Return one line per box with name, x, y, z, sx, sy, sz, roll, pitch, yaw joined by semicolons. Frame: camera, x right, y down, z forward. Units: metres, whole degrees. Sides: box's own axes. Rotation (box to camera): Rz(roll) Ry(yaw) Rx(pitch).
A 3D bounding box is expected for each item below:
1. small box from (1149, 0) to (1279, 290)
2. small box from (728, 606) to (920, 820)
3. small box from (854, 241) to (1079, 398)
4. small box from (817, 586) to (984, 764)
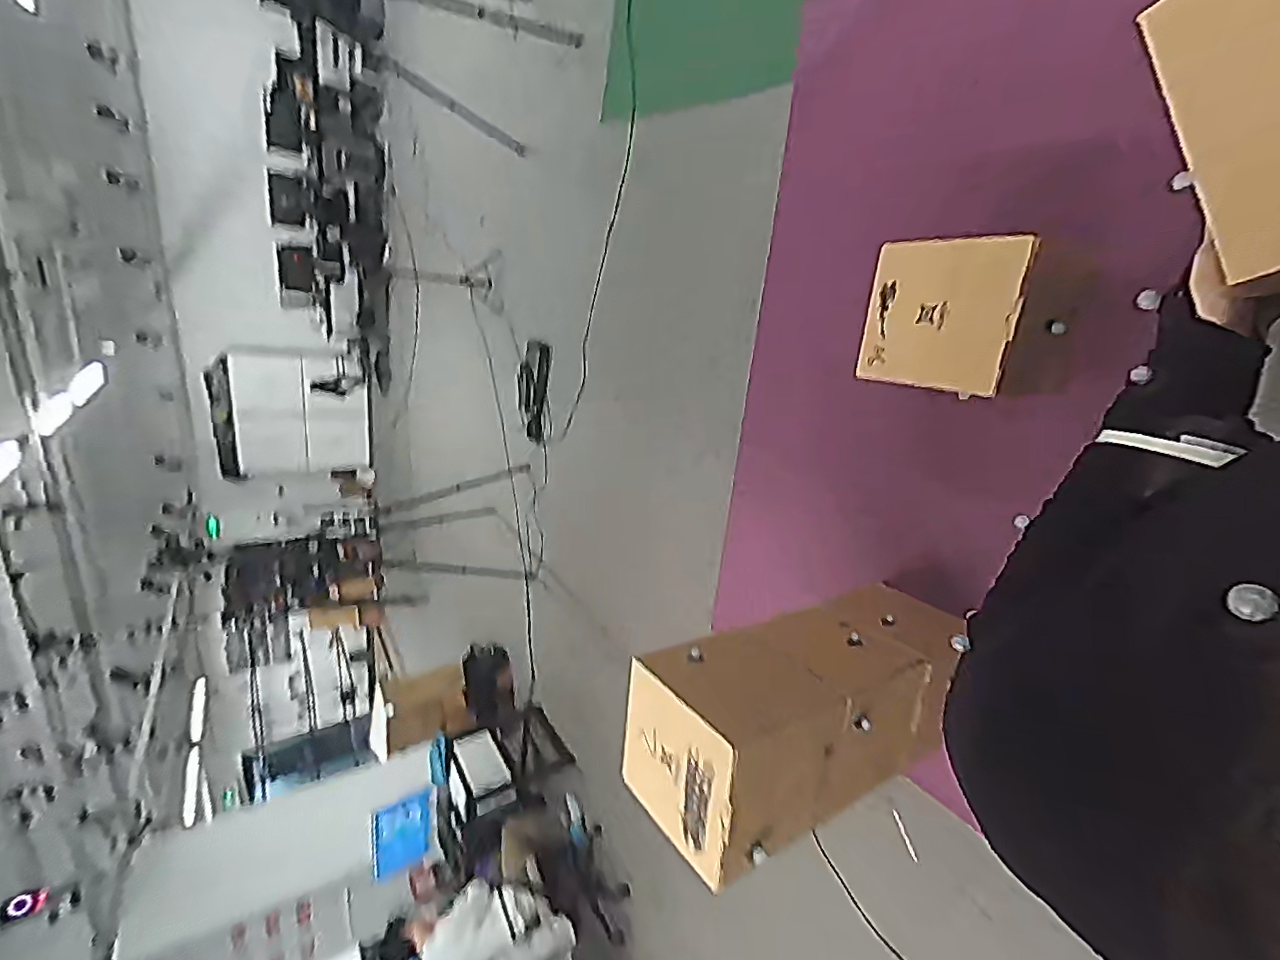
small box;0.419;-0.214;0.283;0.179;0.176;0.168;-16;86;53
small box;0.241;0.290;0.715;0.168;0.176;0.179;21;111;52
small box;0.410;-0.200;0.684;0.179;0.176;0.168;26;116;50
small box;0.374;0.273;0.807;0.179;0.176;0.168;25;114;51
